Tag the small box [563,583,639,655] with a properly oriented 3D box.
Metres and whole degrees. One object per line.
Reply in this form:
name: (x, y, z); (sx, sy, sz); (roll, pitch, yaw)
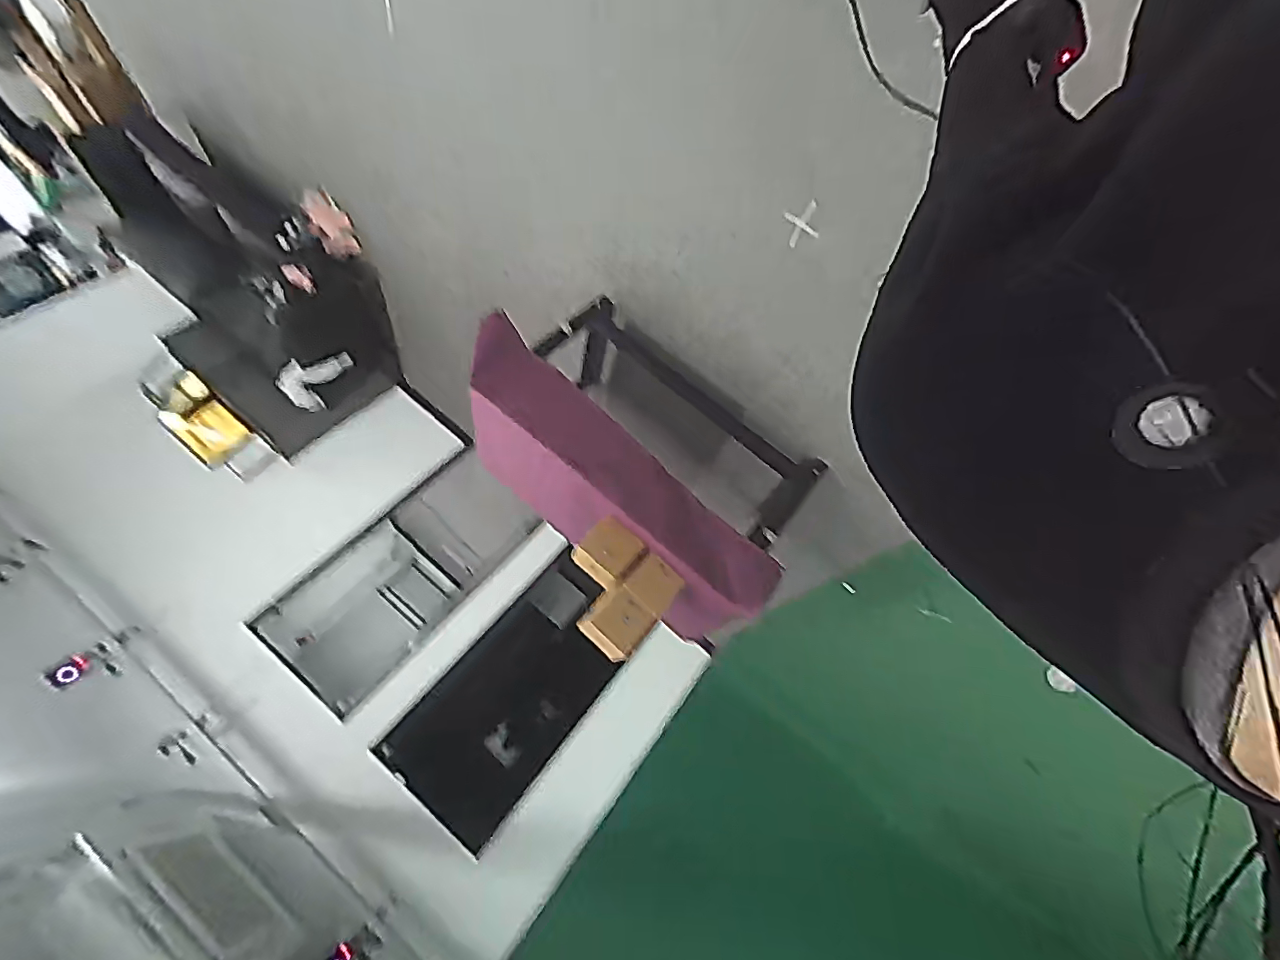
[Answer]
small box: (-0.128, 0.468, 1.828); (0.168, 0.176, 0.179); (45, 151, -2)
